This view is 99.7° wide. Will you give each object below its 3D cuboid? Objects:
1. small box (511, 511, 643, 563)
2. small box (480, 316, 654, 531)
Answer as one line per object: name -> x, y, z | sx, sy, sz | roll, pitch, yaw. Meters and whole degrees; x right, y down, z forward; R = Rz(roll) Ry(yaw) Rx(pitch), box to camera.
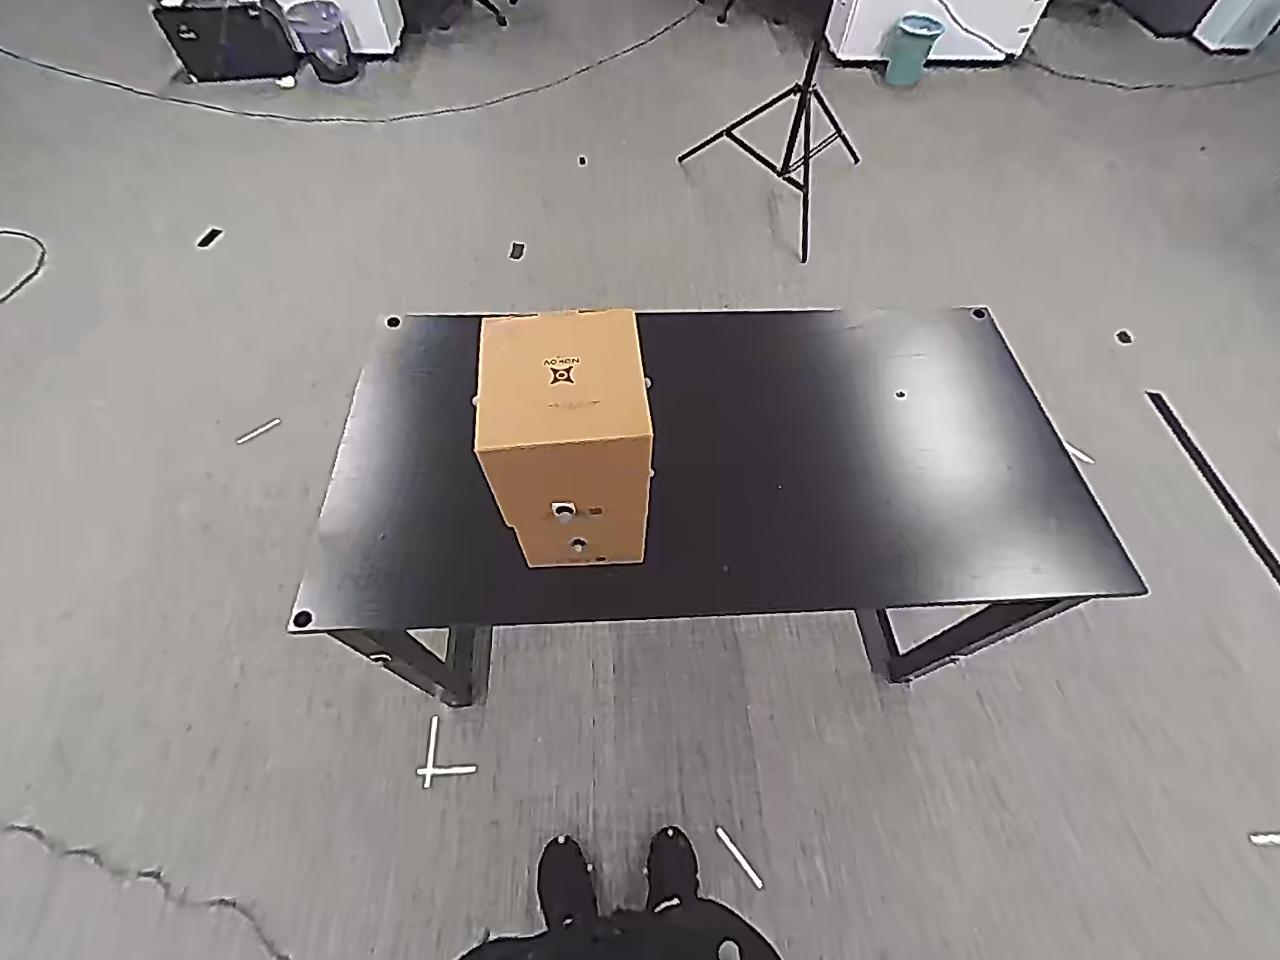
small box -> -0.081, 0.011, 0.765 | 0.168, 0.176, 0.179 | -2, 58, -3
small box -> -0.079, -0.060, 0.619 | 0.168, 0.176, 0.179 | -6, 60, -4
